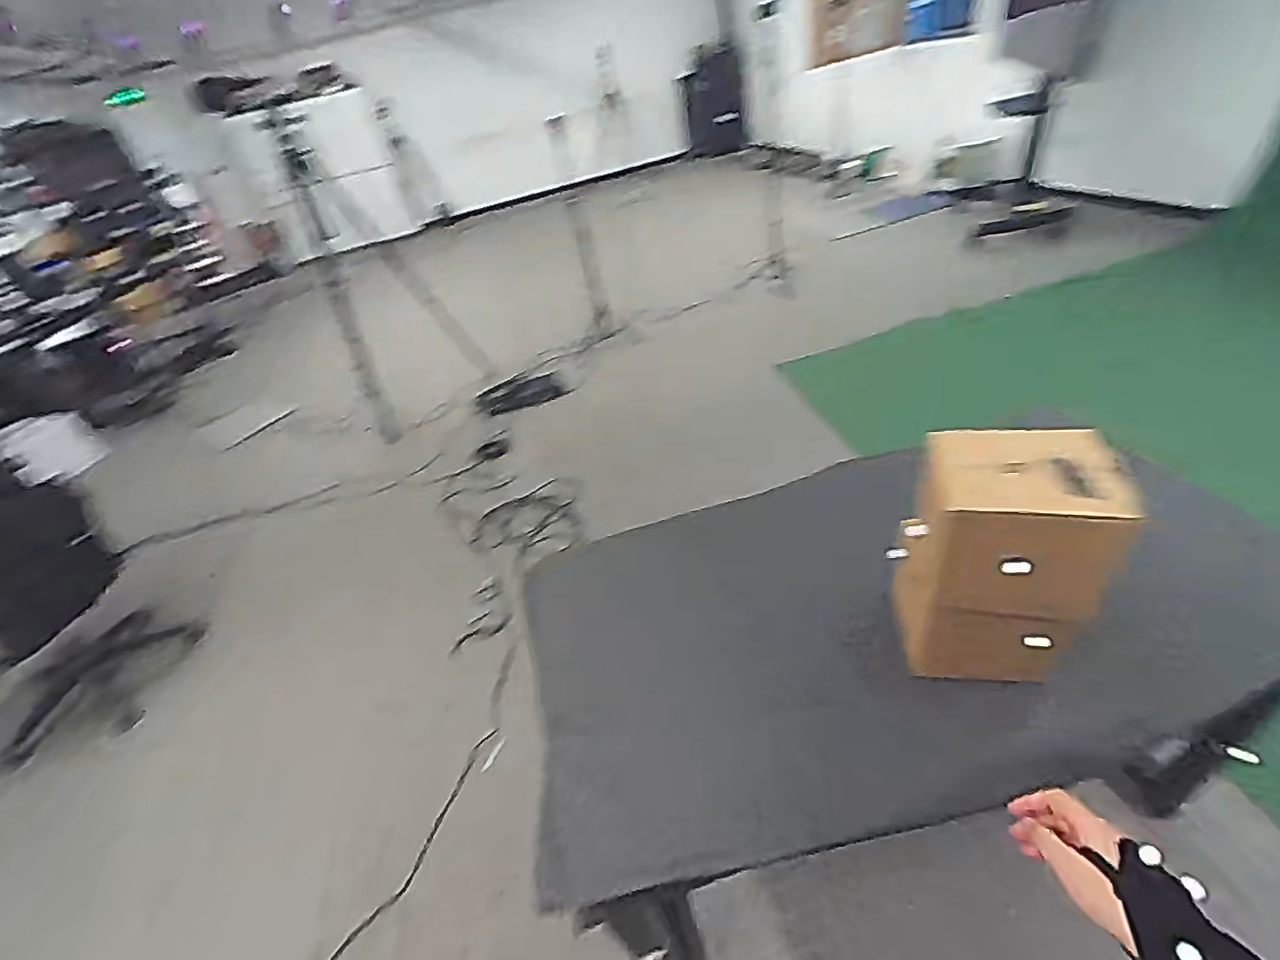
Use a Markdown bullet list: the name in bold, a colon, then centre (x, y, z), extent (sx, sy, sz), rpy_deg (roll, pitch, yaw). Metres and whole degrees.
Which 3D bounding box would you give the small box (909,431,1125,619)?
- **small box**: centre (0.449, 0.055, 0.681), extent (0.179, 0.176, 0.168), rpy_deg (2, 39, 20)
